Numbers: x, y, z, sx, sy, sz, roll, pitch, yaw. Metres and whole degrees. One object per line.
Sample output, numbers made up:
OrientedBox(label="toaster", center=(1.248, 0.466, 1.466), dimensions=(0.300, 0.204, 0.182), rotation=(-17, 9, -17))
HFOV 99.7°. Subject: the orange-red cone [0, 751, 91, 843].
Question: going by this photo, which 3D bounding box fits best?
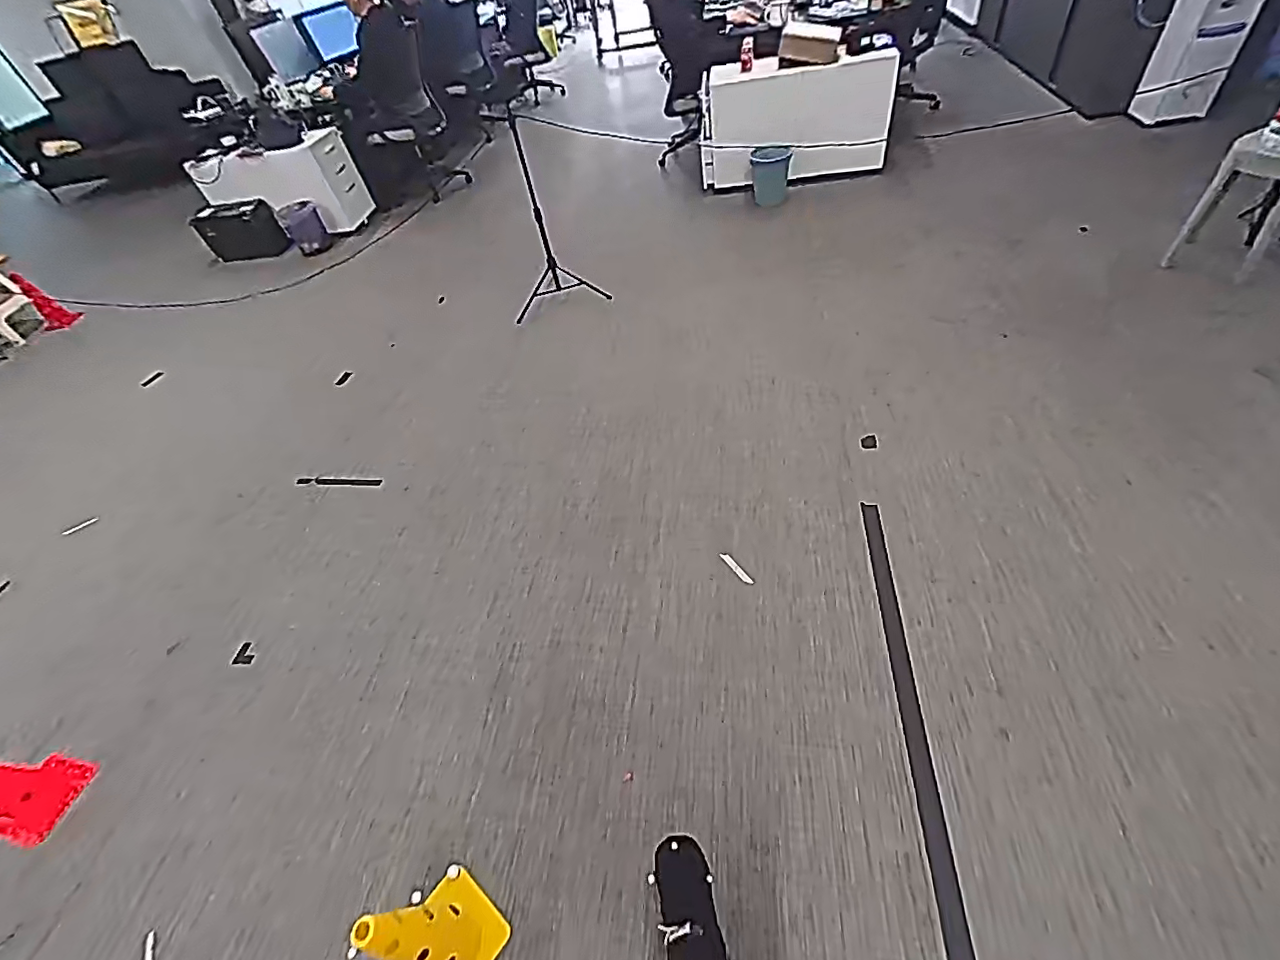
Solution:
OrientedBox(label="orange-red cone", center=(-1.678, 0.760, 1.369), dimensions=(0.199, 0.360, 0.198), rotation=(6, 51, 15))
